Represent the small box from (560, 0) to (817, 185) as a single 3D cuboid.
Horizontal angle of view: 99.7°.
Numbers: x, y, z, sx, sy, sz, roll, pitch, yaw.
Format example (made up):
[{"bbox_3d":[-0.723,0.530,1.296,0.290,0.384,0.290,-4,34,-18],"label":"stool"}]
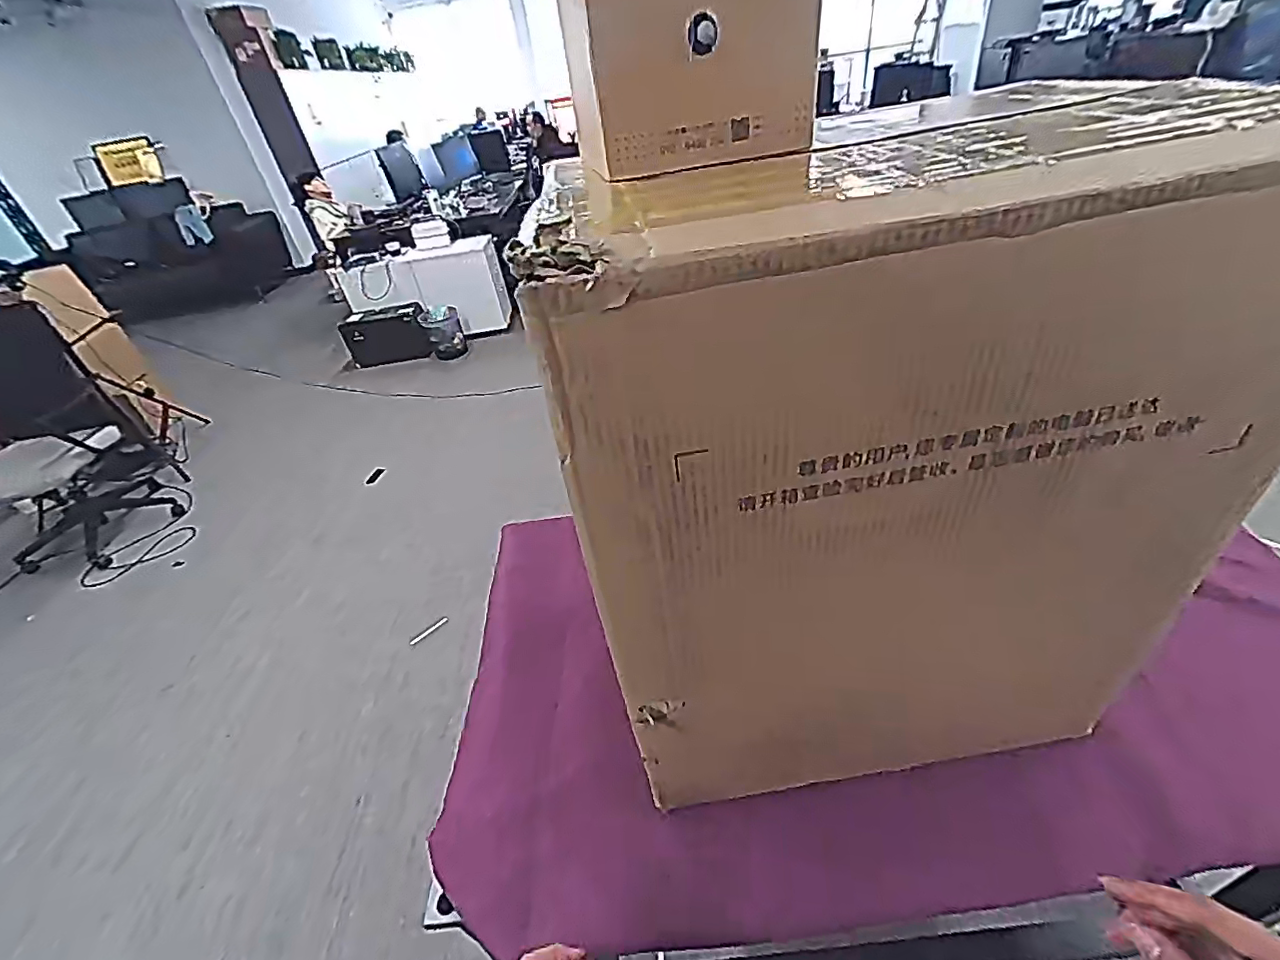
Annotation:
[{"bbox_3d":[0.032,-0.348,0.434,0.168,0.176,0.179,-12,37,-6],"label":"small box"}]
